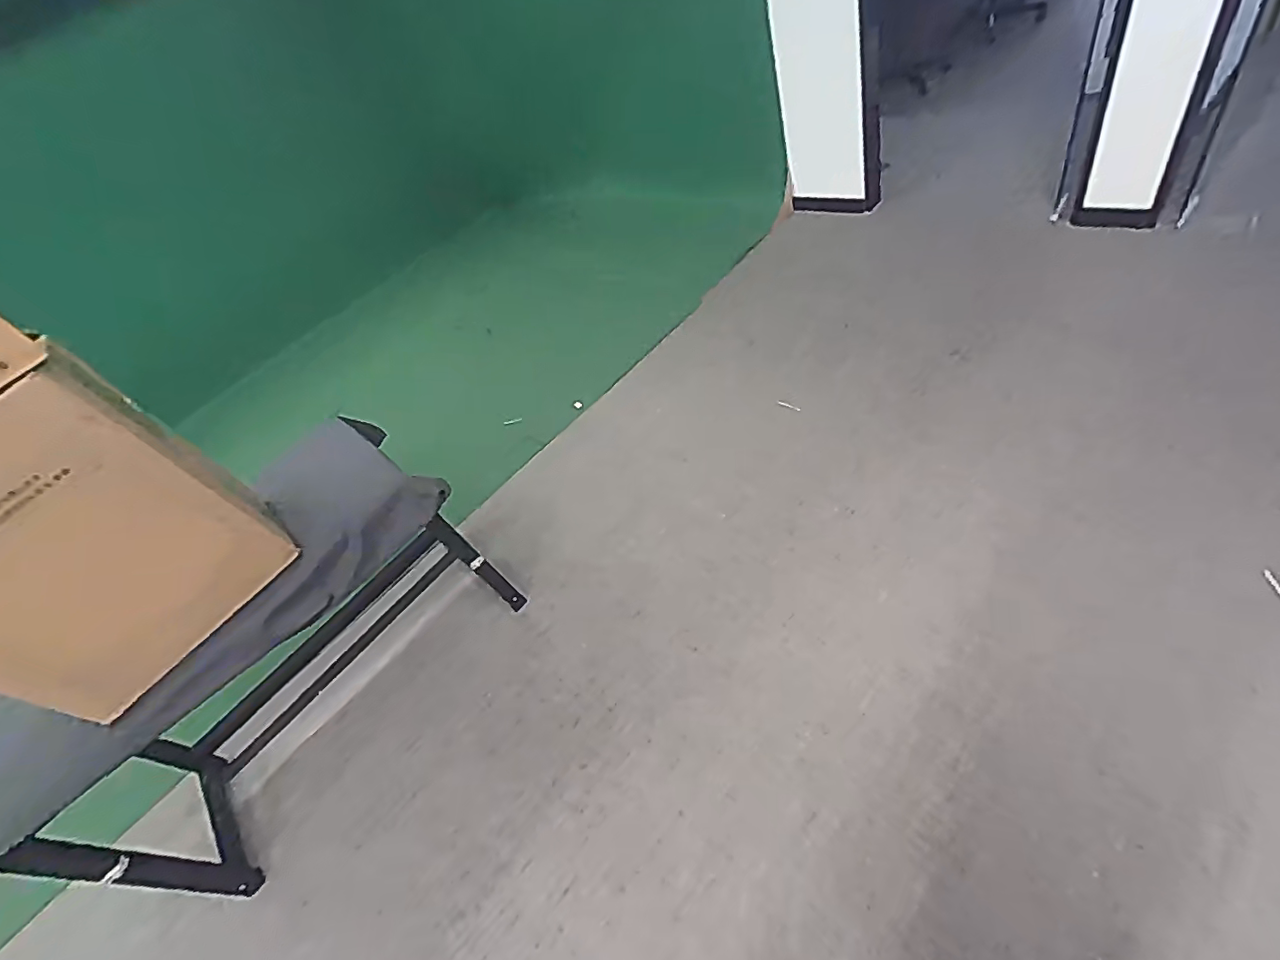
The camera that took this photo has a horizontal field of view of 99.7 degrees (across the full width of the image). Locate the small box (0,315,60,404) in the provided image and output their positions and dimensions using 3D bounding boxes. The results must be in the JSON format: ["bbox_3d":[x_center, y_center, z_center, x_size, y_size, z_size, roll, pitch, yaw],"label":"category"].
[{"bbox_3d":[-1.198,-0.224,0.959,0.179,0.176,0.168,17,56,37],"label":"small box"}]
